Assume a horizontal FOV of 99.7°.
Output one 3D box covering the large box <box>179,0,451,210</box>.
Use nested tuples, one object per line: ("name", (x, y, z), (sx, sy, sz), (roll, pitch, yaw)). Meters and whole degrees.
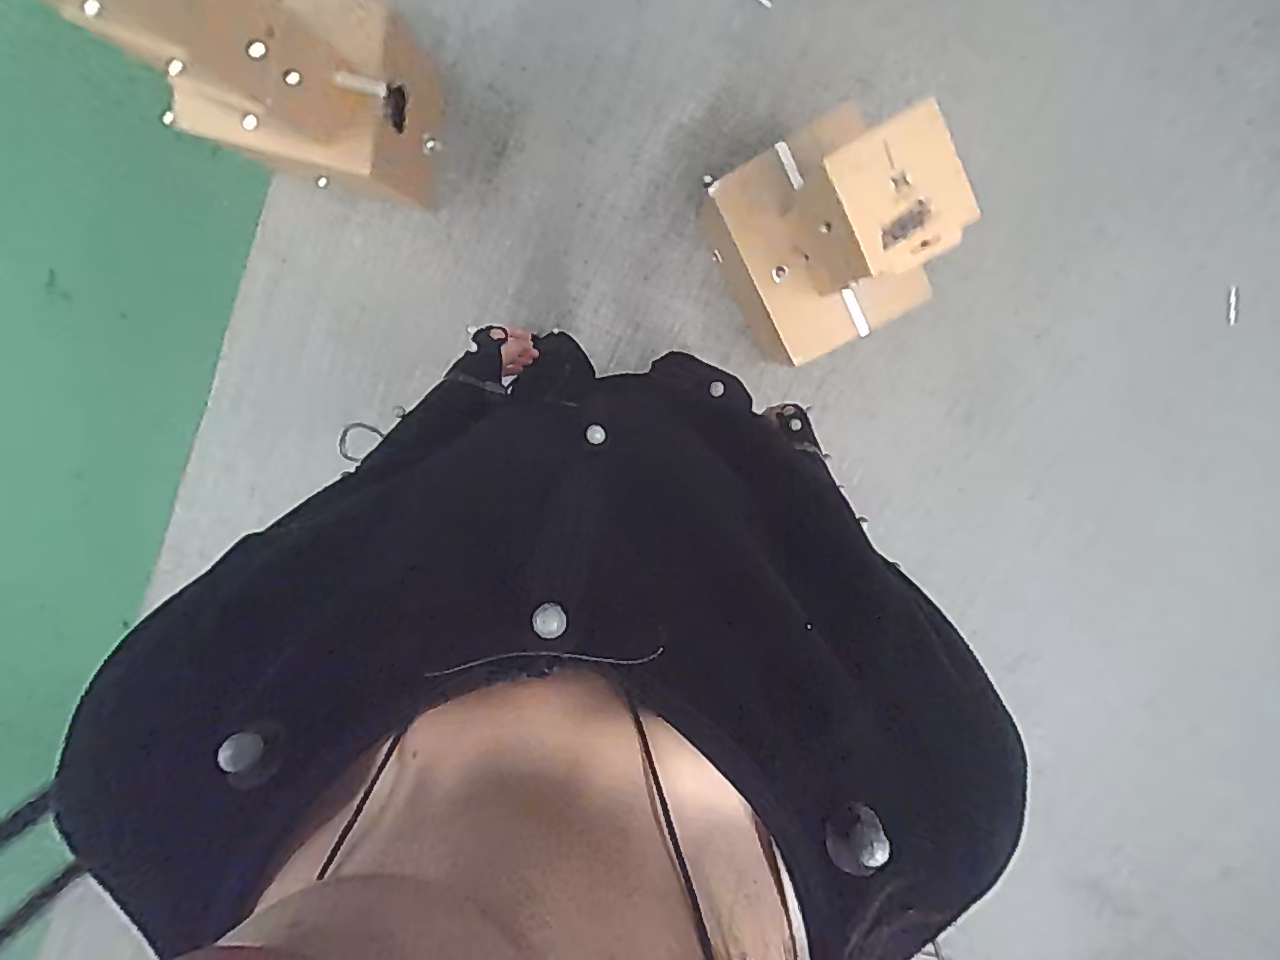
("large box", (-0.678, -0.826, 1.181), (0.408, 0.320, 0.320), (14, 103, 0))

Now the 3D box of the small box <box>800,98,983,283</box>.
("small box", (0.369, -0.419, 0.823), (0.168, 0.176, 0.179), (-27, 100, 7))

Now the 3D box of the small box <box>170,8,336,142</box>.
("small box", (-0.668, -0.733, 0.950), (0.168, 0.176, 0.179), (19, 104, -3))

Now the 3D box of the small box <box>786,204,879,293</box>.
("small box", (0.391, -0.457, 0.983), (0.168, 0.176, 0.179), (-32, 101, 7))

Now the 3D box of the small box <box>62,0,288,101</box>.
("small box", (-0.667, -0.700, 0.791), (0.179, 0.176, 0.168), (20, 104, -4))
